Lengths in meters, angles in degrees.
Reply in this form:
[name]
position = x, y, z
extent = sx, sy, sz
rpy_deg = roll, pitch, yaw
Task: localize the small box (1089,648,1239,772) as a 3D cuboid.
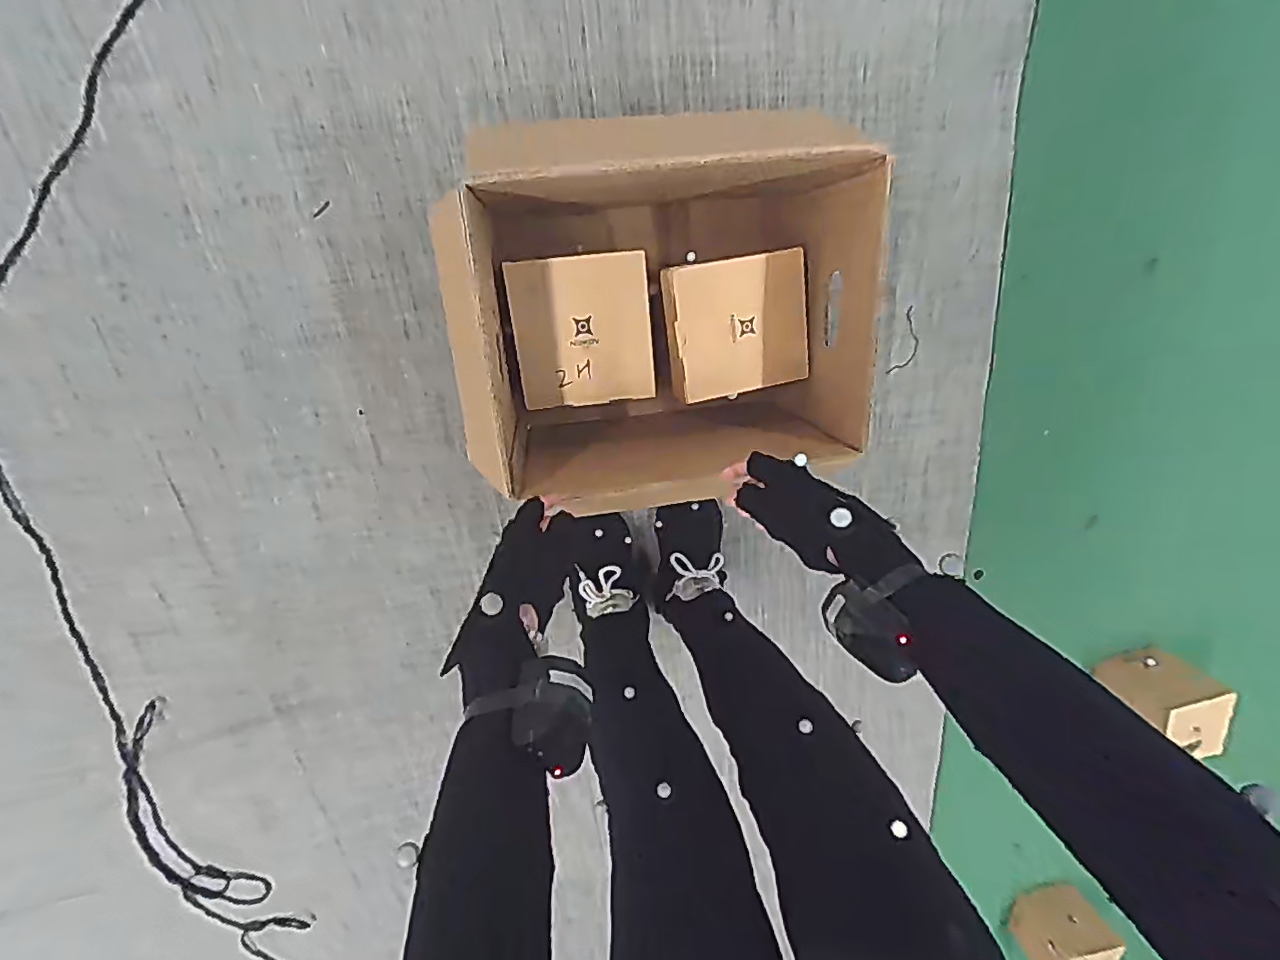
[small box]
position = 1.174, 0.515, 1.227
extent = 0.168, 0.176, 0.179
rpy_deg = -12, 111, -6
